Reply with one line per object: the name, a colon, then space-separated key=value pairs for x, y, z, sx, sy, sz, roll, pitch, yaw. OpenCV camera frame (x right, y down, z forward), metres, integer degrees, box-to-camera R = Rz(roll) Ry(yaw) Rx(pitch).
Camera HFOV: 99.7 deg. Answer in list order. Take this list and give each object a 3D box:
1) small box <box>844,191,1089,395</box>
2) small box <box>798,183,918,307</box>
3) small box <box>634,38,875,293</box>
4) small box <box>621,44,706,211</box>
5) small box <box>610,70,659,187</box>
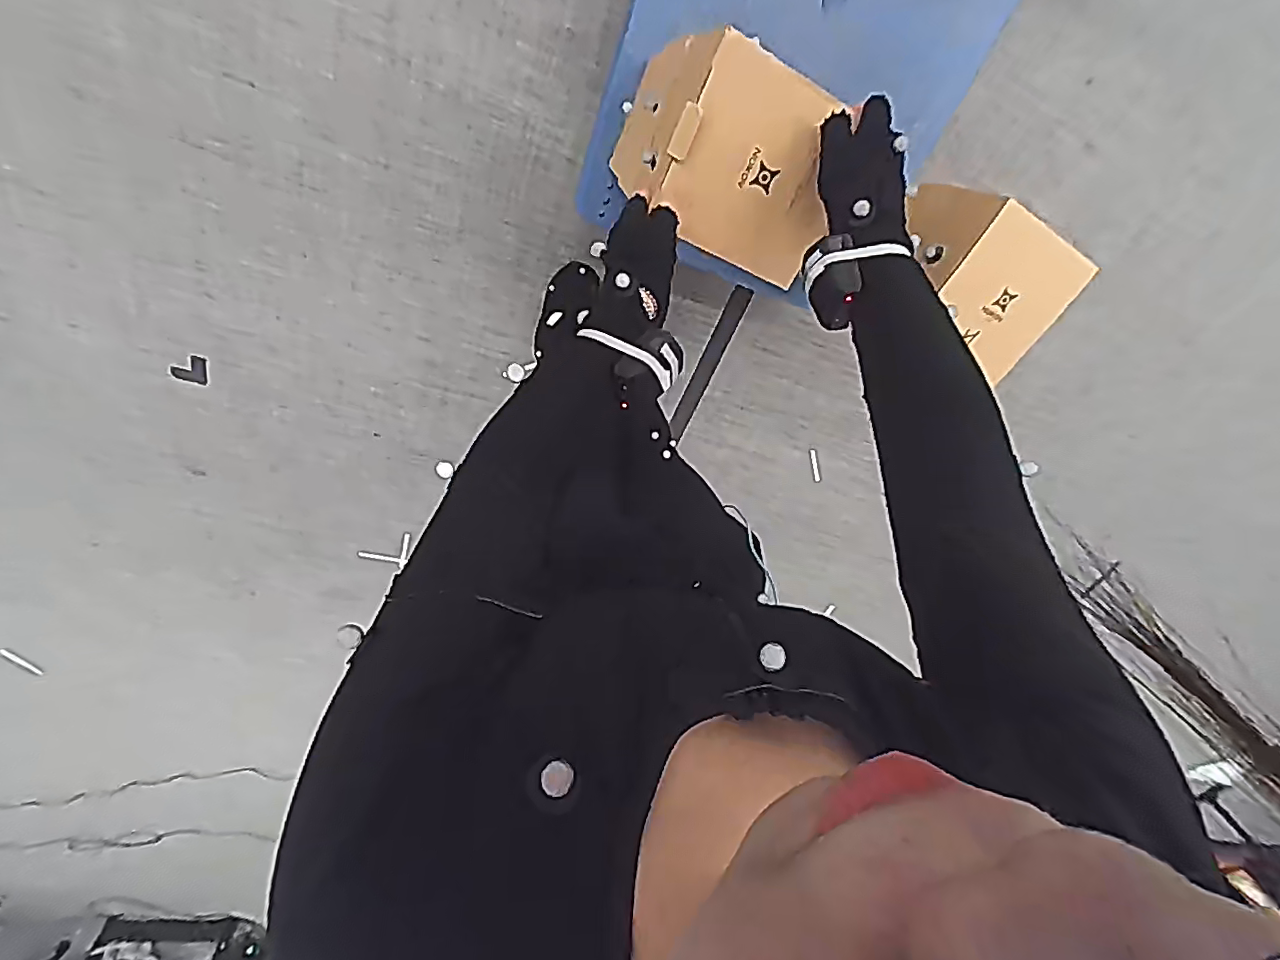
small box: x=0.402 y=-0.246 z=0.700 sx=0.168 sy=0.176 sz=0.179 roll=20 pitch=119 yaw=-21
small box: x=0.378 y=-0.336 z=0.836 sx=0.179 sy=0.176 sz=0.168 roll=19 pitch=119 yaw=-21
small box: x=0.106 y=-0.336 z=0.591 sx=0.179 sy=0.176 sz=0.168 roll=18 pitch=122 yaw=-20
small box: x=0.082 y=-0.432 z=0.721 sx=0.168 sy=0.176 sz=0.179 roll=16 pitch=120 yaw=-18
small box: x=0.066 y=-0.523 z=0.858 sx=0.179 sy=0.176 sz=0.168 roll=18 pitch=119 yaw=-19
